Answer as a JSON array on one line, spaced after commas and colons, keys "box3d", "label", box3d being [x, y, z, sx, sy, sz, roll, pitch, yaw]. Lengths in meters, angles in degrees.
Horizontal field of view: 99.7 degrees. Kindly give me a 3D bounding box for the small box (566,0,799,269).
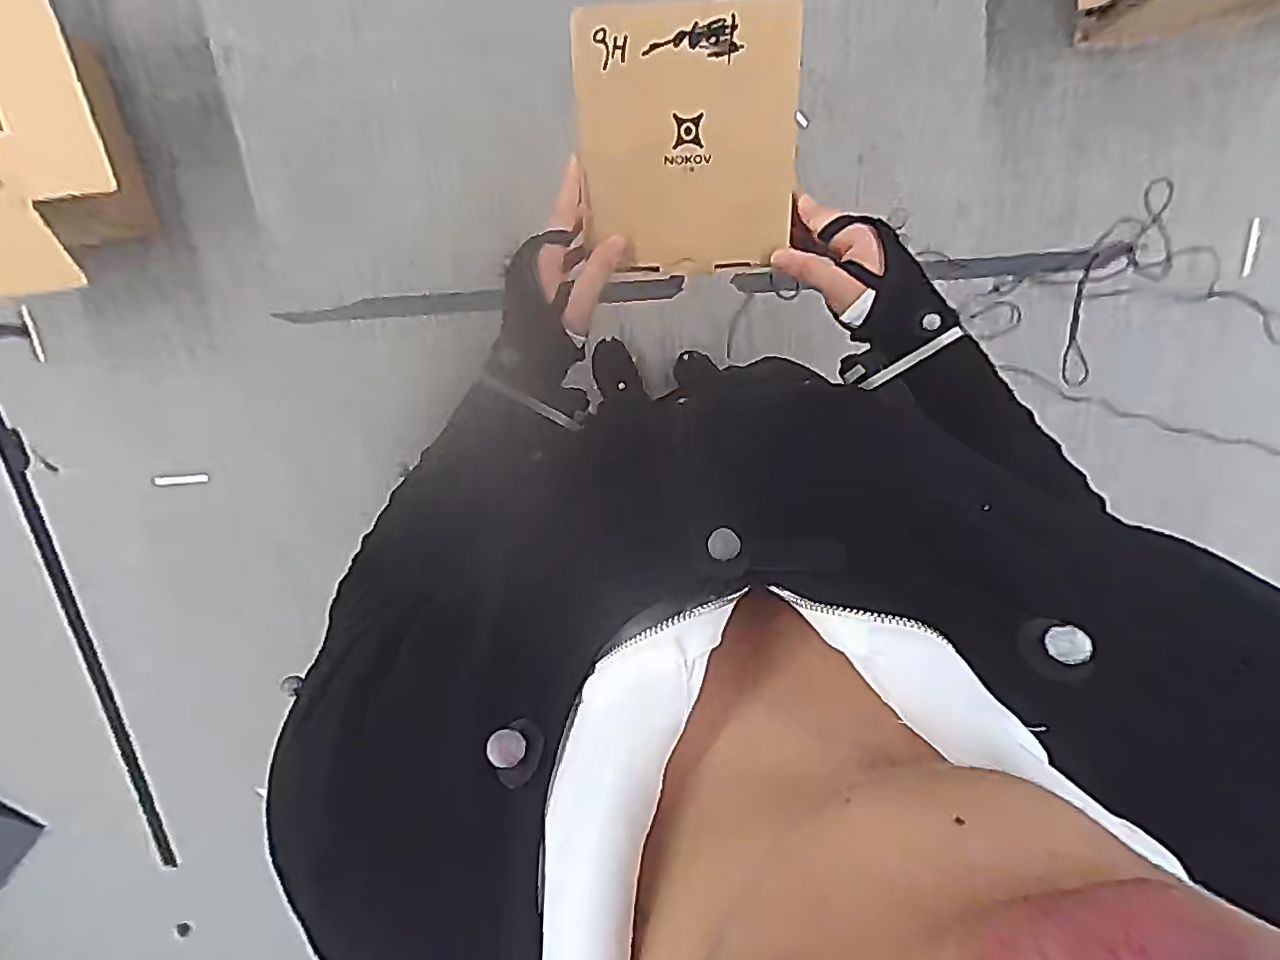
[{"box3d": [0.029, -0.285, 0.479, 0.168, 0.176, 0.179, -1, 112, -1], "label": "small box"}]
